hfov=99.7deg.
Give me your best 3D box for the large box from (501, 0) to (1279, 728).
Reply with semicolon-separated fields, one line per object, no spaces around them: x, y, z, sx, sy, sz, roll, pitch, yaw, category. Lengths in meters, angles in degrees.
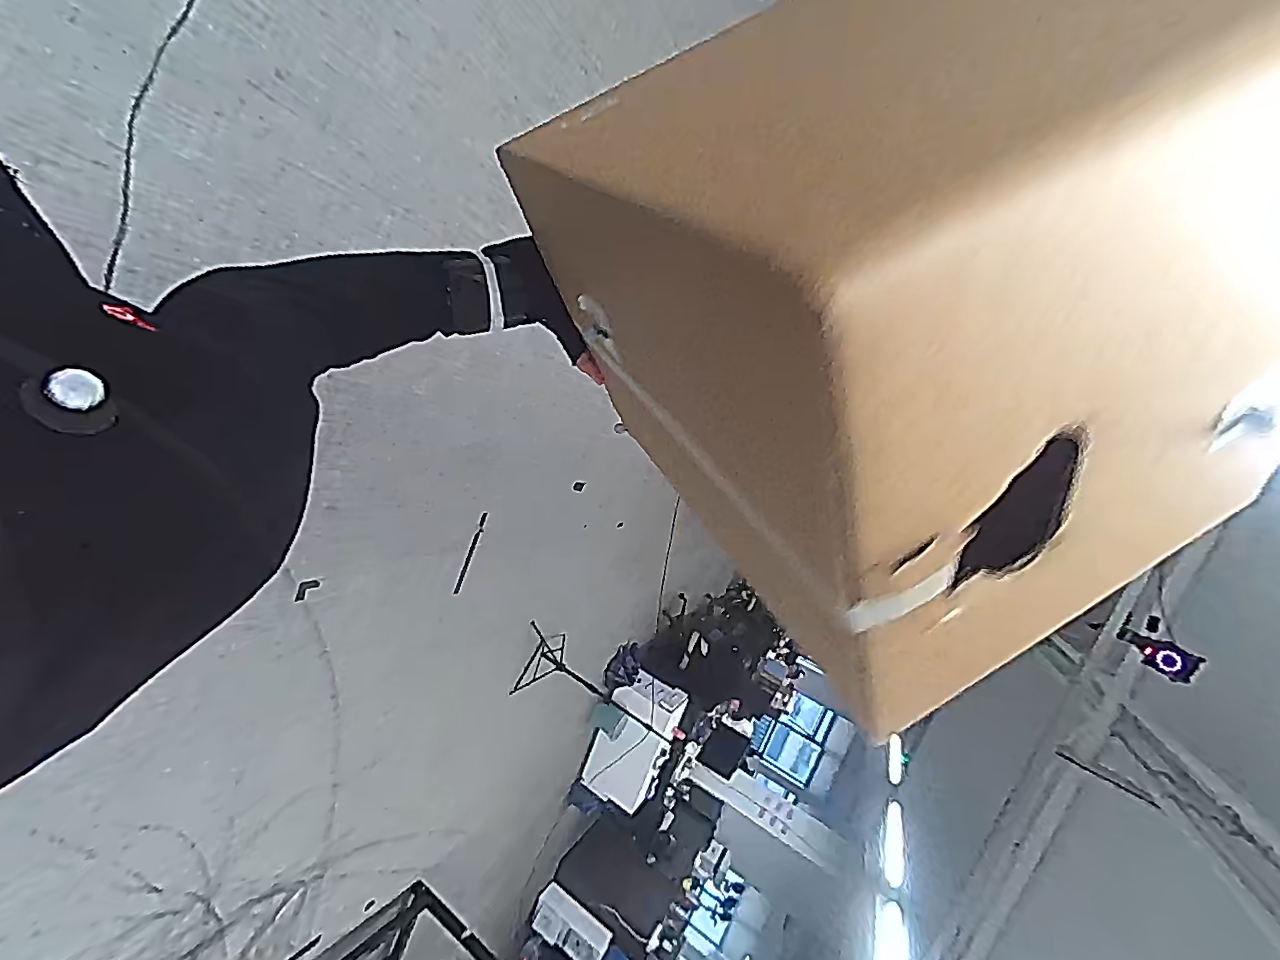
0.137;-0.120;0.401;0.320;0.408;0.320;-28;132;-4;large box
